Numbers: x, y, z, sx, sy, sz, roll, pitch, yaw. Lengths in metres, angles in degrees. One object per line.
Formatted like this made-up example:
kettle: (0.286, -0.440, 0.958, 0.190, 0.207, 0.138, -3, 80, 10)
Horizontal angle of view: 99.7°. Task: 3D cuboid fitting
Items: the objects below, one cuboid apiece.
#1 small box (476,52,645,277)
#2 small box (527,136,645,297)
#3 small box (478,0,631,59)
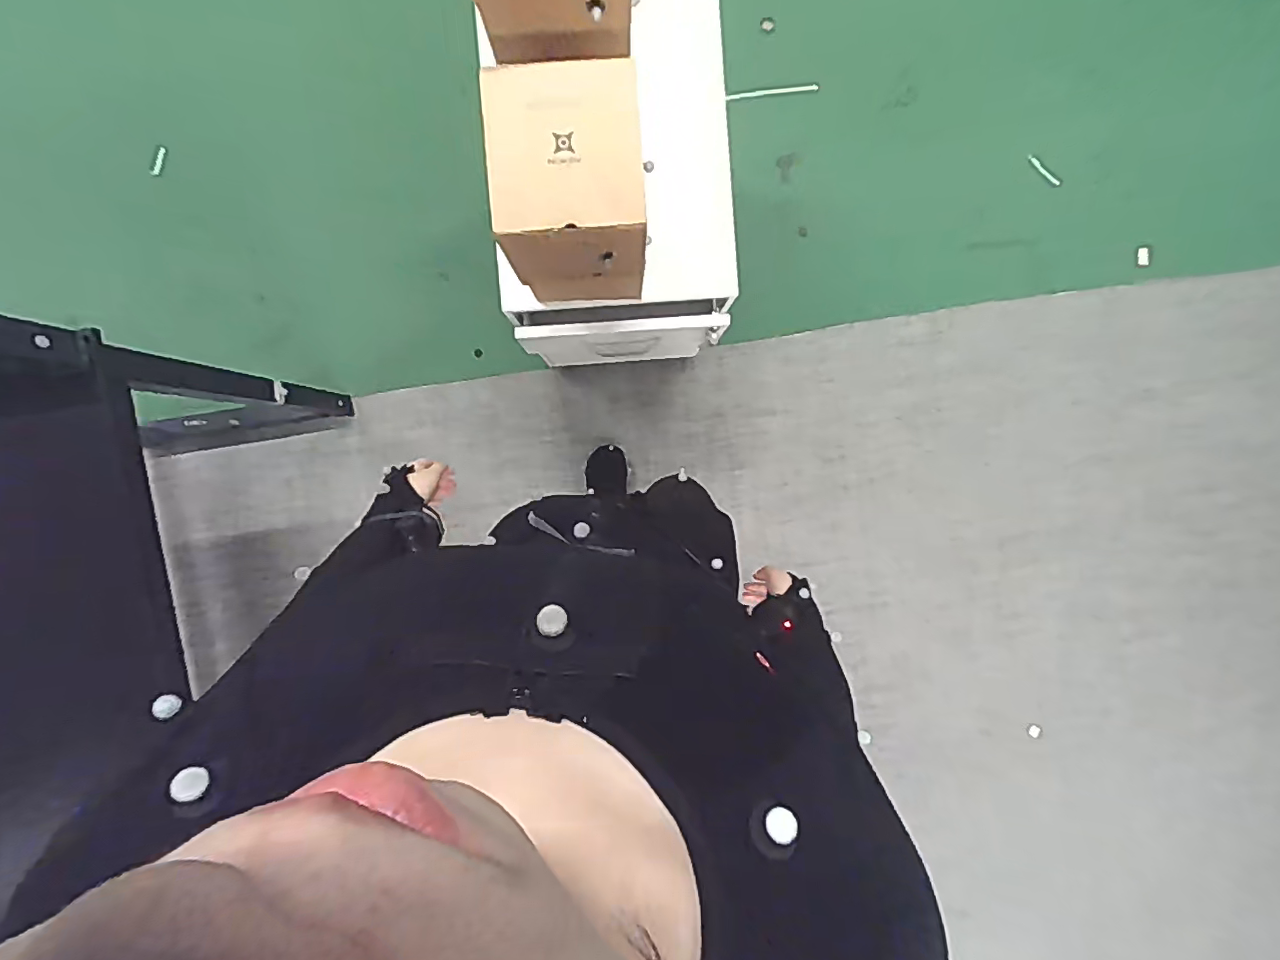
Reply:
small box: (-0.083, -0.350, 0.634, 0.168, 0.176, 0.179, -5, 92, -3)
small box: (-0.084, -0.376, 0.795, 0.179, 0.176, 0.168, -2, 92, -3)
small box: (-0.099, -0.600, 0.622, 0.179, 0.176, 0.168, -1, 93, -3)
